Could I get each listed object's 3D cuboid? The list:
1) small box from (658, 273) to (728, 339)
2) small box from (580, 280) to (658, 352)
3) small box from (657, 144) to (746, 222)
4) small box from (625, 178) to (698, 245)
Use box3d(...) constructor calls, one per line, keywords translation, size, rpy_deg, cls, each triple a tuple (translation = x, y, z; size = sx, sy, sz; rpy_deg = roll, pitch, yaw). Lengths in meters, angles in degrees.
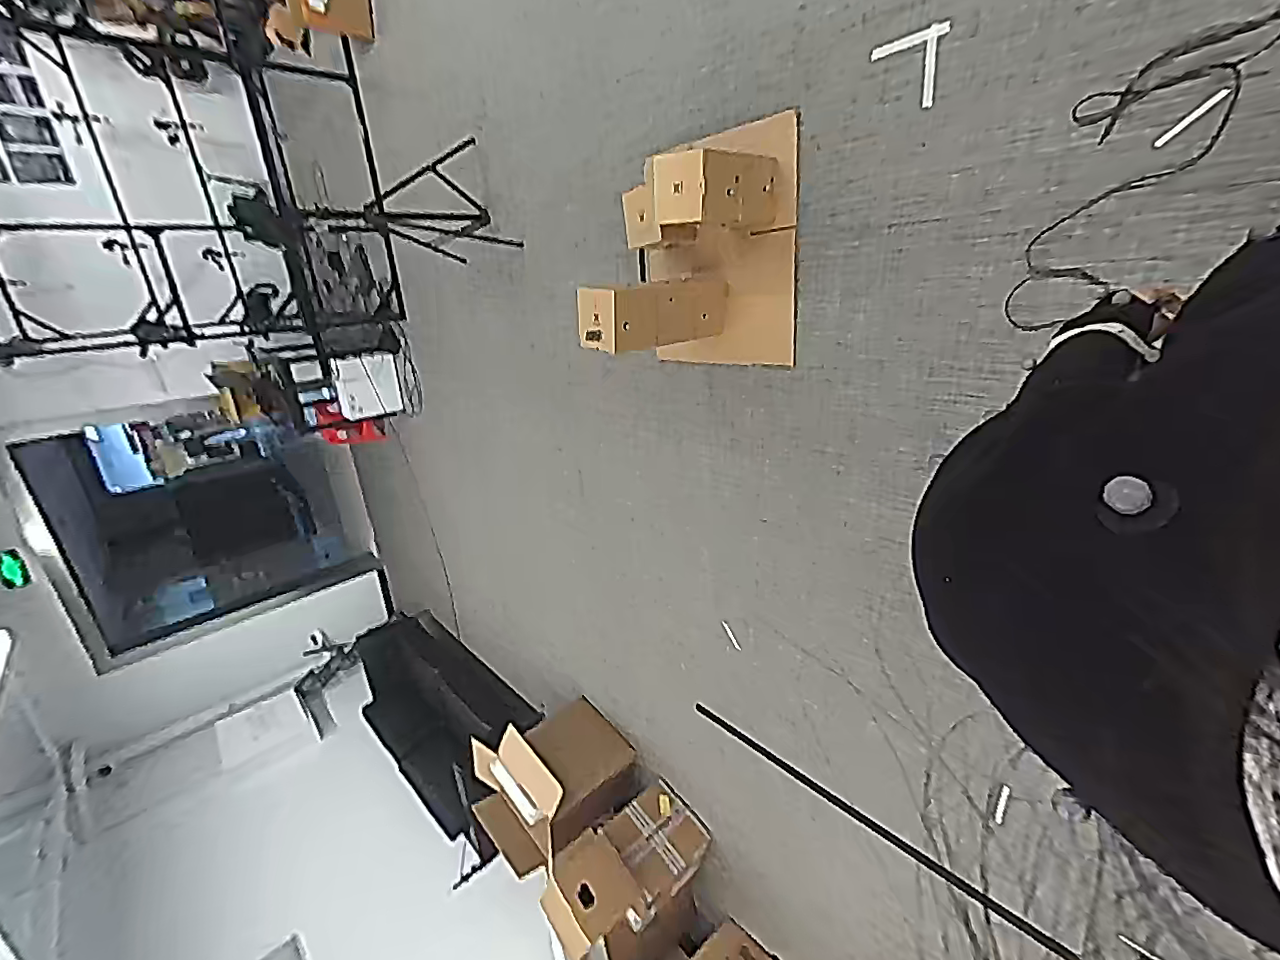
box3d(translation=(0.178, -0.585, 1.807), size=(0.168, 0.176, 0.179), rpy_deg=(27, 127, 39), cls="small box")
box3d(translation=(-0.060, -0.490, 1.599), size=(0.168, 0.176, 0.179), rpy_deg=(25, 124, 41), cls="small box")
box3d(translation=(0.165, -0.795, 1.464), size=(0.179, 0.176, 0.168), rpy_deg=(20, 122, 41), cls="small box")
box3d(translation=(0.075, -0.885, 1.793), size=(0.168, 0.176, 0.179), rpy_deg=(12, 117, 47), cls="small box")
